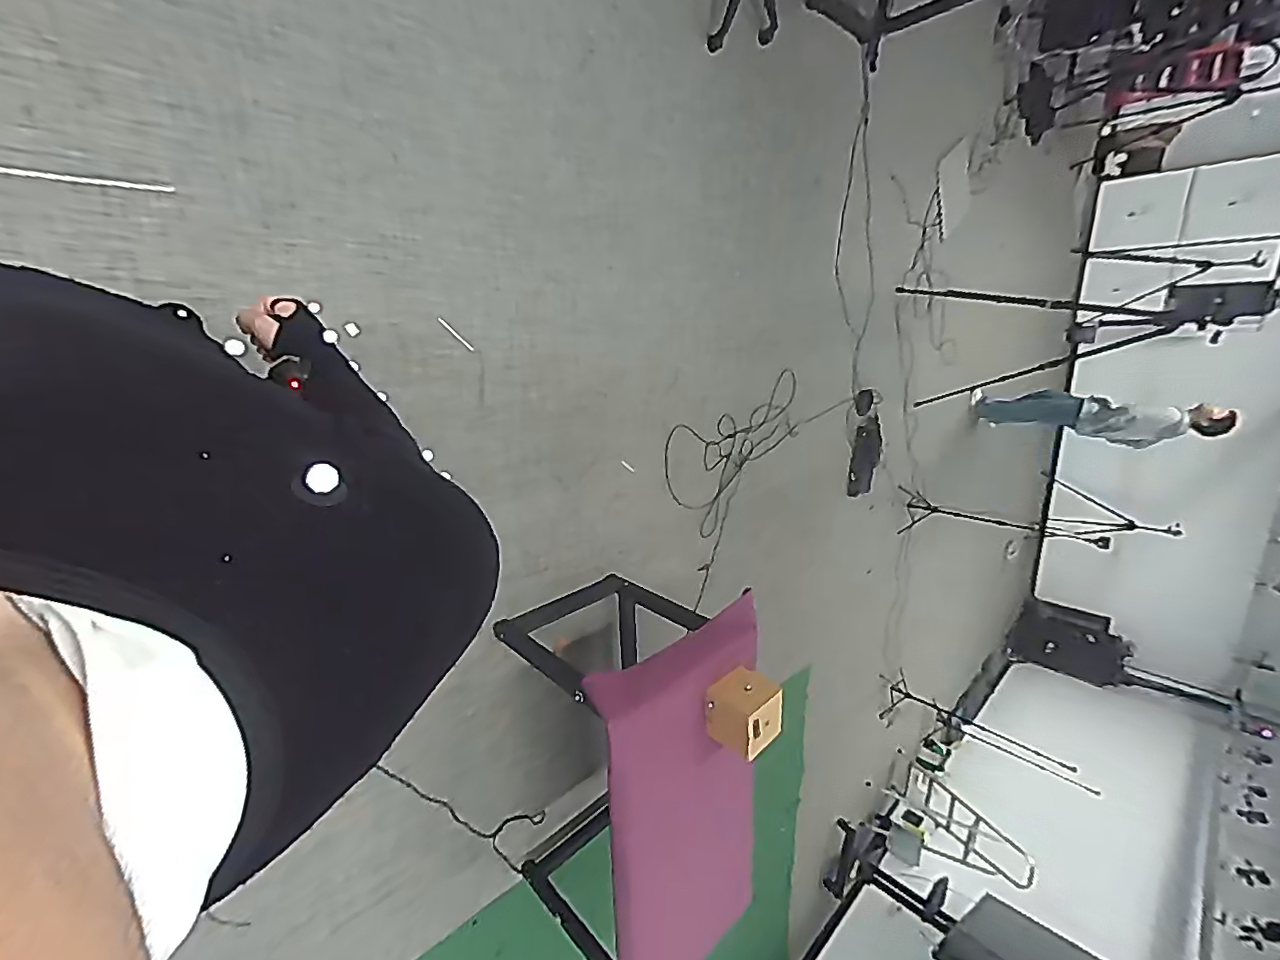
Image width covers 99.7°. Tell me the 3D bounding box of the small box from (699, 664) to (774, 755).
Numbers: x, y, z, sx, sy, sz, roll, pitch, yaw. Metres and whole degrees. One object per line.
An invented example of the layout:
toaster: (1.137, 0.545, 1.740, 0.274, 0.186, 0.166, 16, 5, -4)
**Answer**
small box: (0.299, 0.709, 1.690, 0.179, 0.176, 0.168, -18, 113, -41)
